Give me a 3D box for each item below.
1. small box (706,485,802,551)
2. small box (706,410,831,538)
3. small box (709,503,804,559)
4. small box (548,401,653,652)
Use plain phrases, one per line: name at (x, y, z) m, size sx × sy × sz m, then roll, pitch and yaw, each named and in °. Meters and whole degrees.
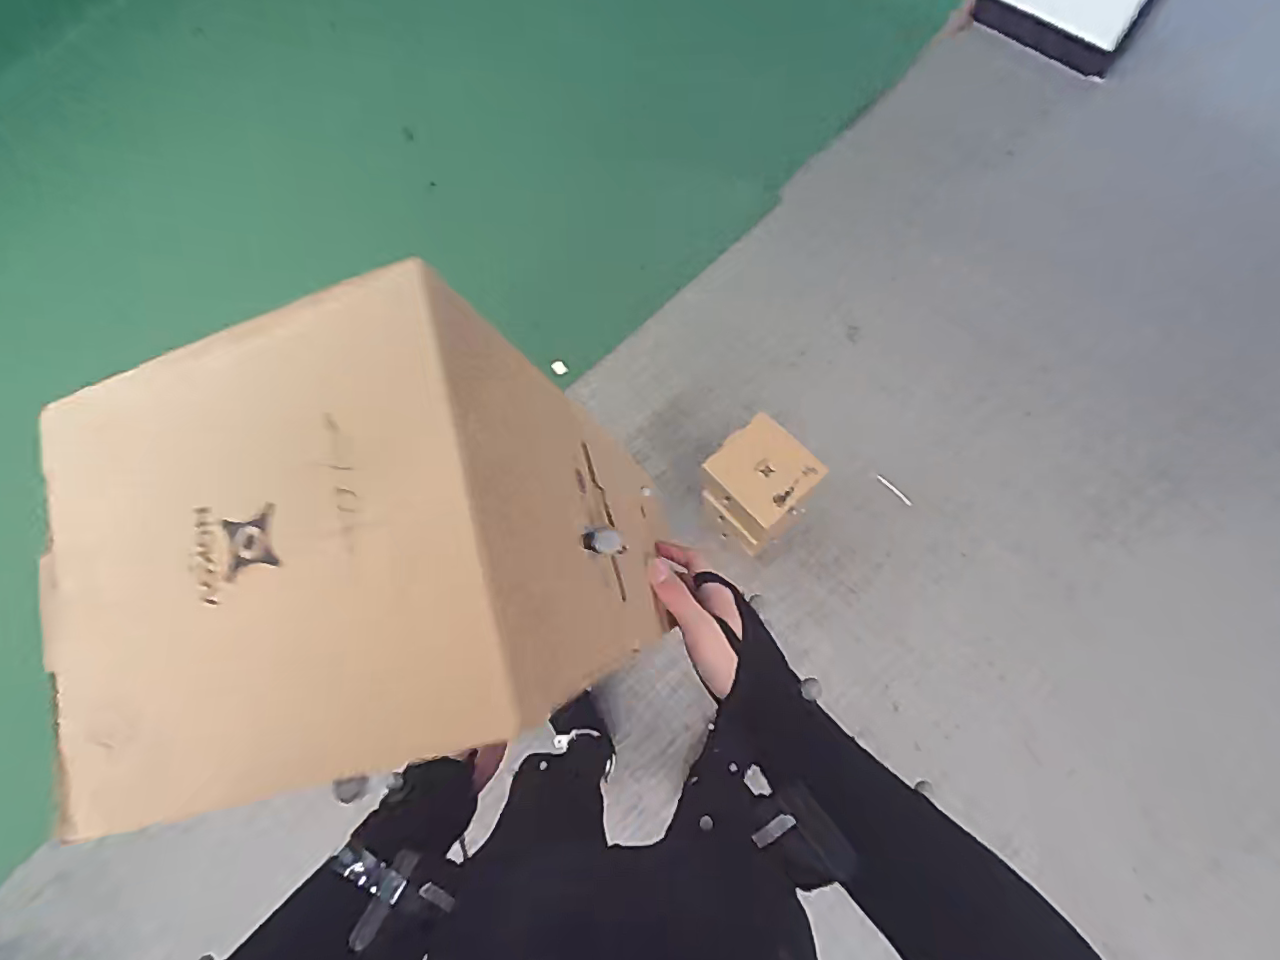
small box at (0.275, 0.044, 1.255) m, size 0.179 × 0.176 × 0.168 m, roll -43°, pitch 72°, yaw -4°
small box at (0.254, -0.004, 1.098) m, size 0.168 × 0.176 × 0.179 m, roll -42°, pitch 71°, yaw -4°
small box at (0.300, 0.086, 1.409) m, size 0.179 × 0.176 × 0.168 m, roll -40°, pitch 73°, yaw -3°
small box at (-0.097, 0.059, 0.430) m, size 0.179 × 0.176 × 0.168 m, roll -19°, pitch 77°, yaw 10°
